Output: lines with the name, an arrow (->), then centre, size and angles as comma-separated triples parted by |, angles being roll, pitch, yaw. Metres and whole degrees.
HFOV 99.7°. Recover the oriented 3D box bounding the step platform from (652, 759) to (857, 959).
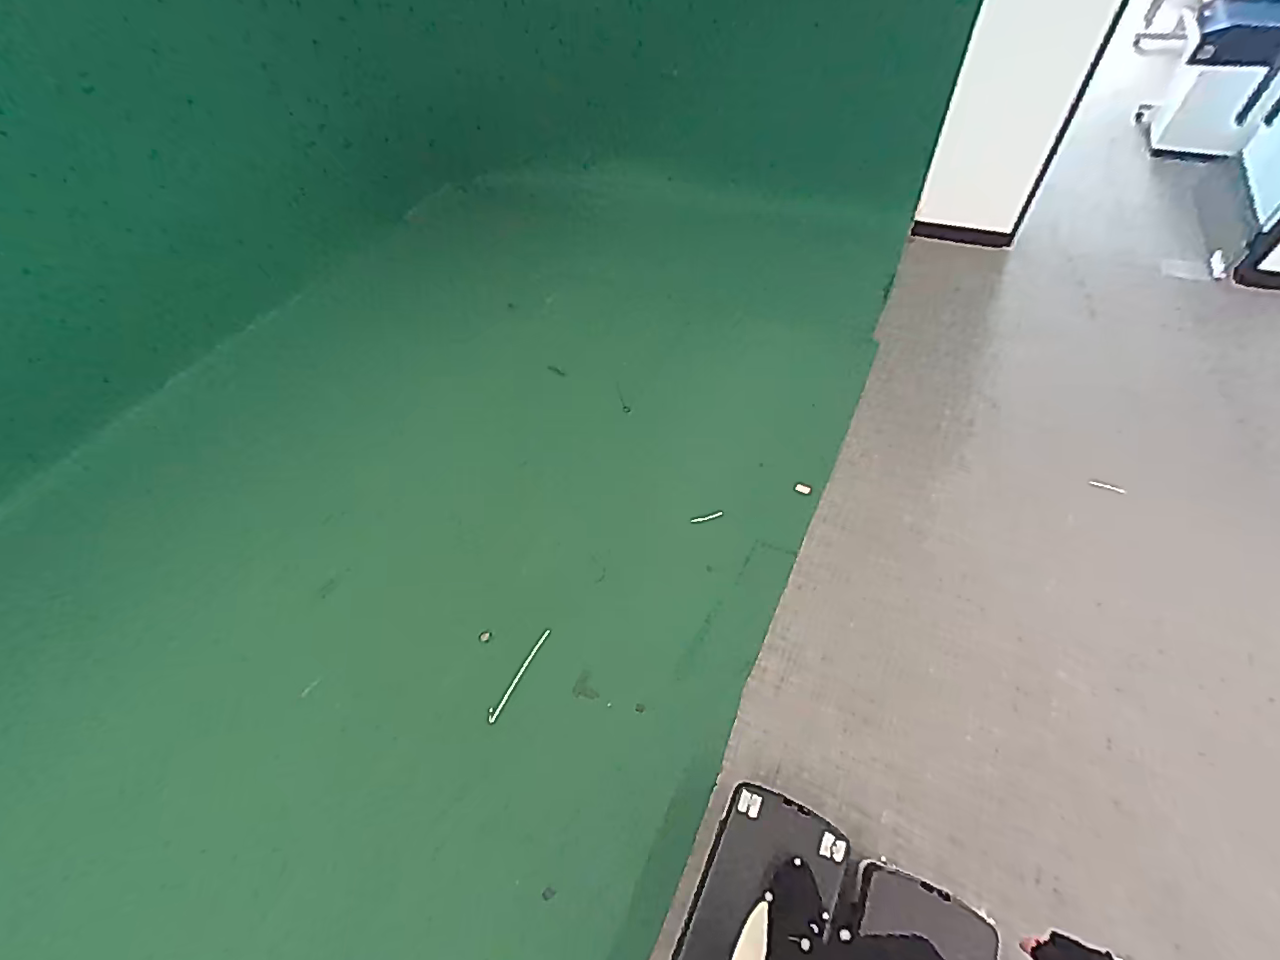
step platform -> 0.171, 0.919, 1.008 | 0.286, 0.204, 0.684 | 20, 59, 19
